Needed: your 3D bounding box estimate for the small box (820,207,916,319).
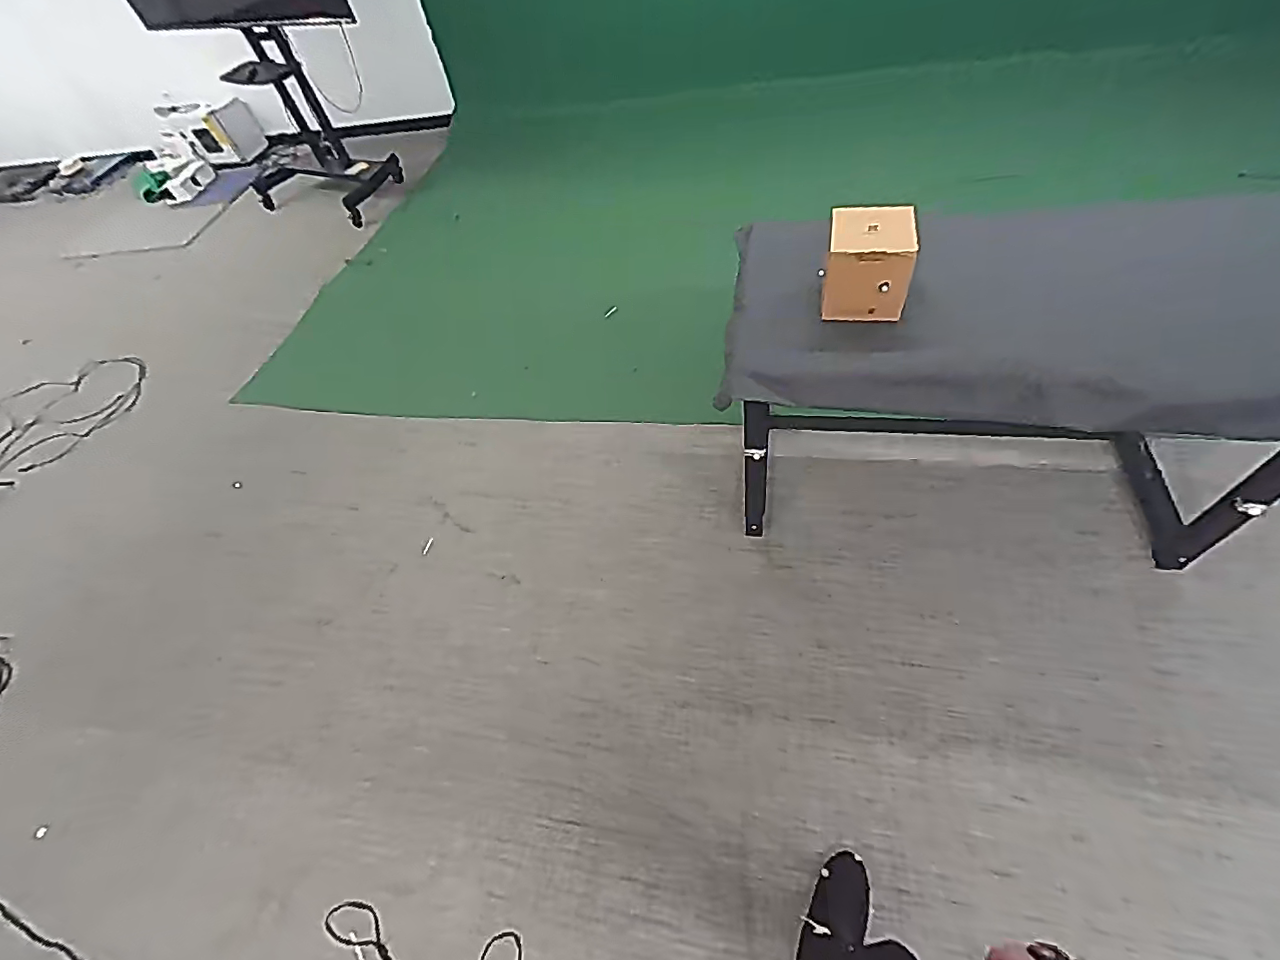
[{"bbox_3d":[0.494,-0.475,1.190,0.168,0.176,0.179,6,55,13],"label":"small box"}]
